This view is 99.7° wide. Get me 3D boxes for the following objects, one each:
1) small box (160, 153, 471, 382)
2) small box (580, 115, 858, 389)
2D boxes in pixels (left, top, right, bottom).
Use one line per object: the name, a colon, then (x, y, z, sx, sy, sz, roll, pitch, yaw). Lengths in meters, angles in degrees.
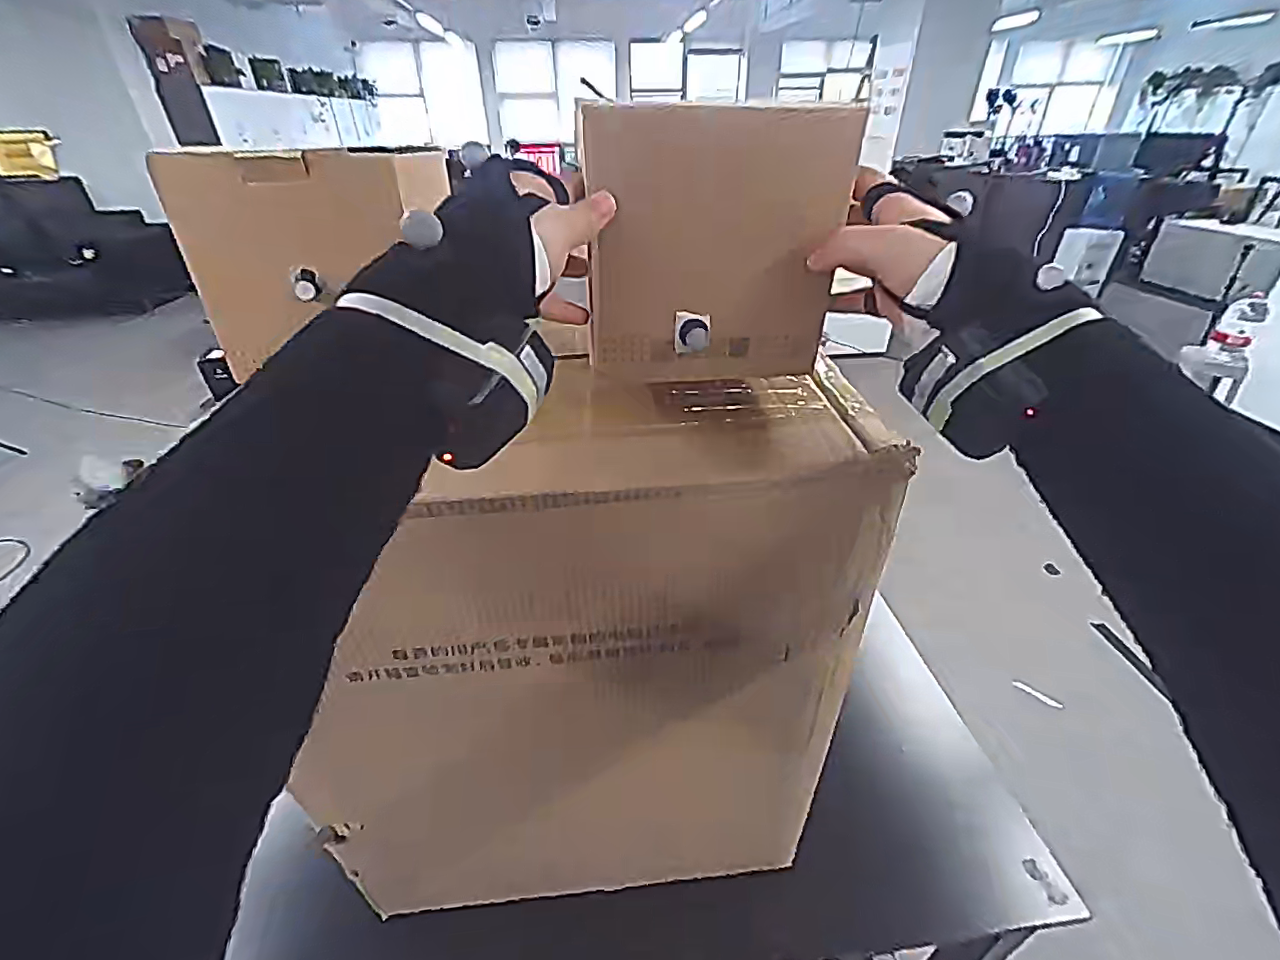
small box: (-0.260, -0.195, 0.492, 0.168, 0.176, 0.179, -3, 32, -5)
small box: (0.040, -0.184, 0.428, 0.168, 0.176, 0.179, -4, 36, -6)
